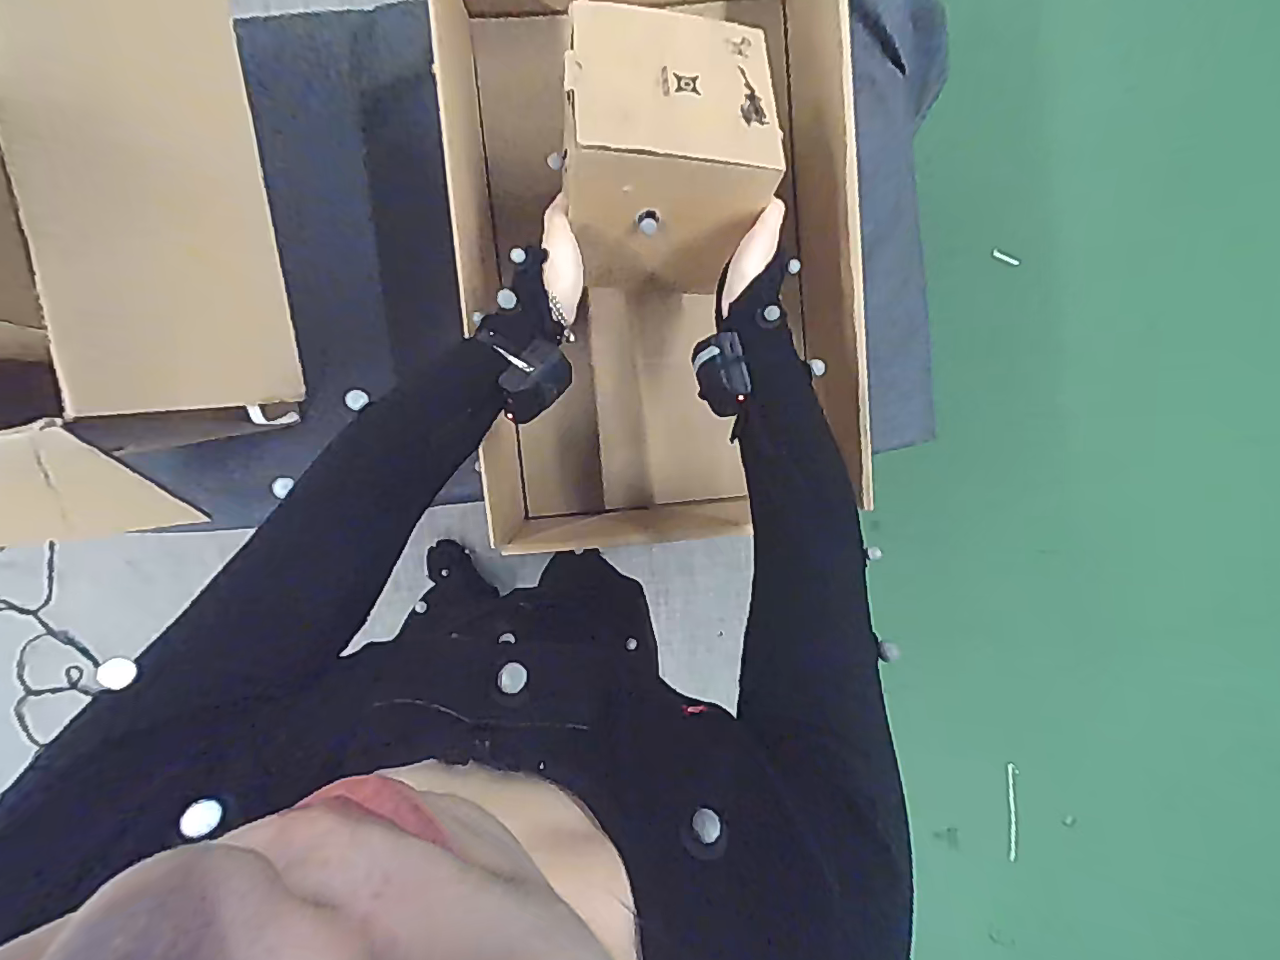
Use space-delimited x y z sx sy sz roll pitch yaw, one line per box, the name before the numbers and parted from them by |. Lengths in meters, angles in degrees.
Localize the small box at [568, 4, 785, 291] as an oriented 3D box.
small box | 0.019 -0.306 0.528 0.179 0.176 0.168 0 73 -10
